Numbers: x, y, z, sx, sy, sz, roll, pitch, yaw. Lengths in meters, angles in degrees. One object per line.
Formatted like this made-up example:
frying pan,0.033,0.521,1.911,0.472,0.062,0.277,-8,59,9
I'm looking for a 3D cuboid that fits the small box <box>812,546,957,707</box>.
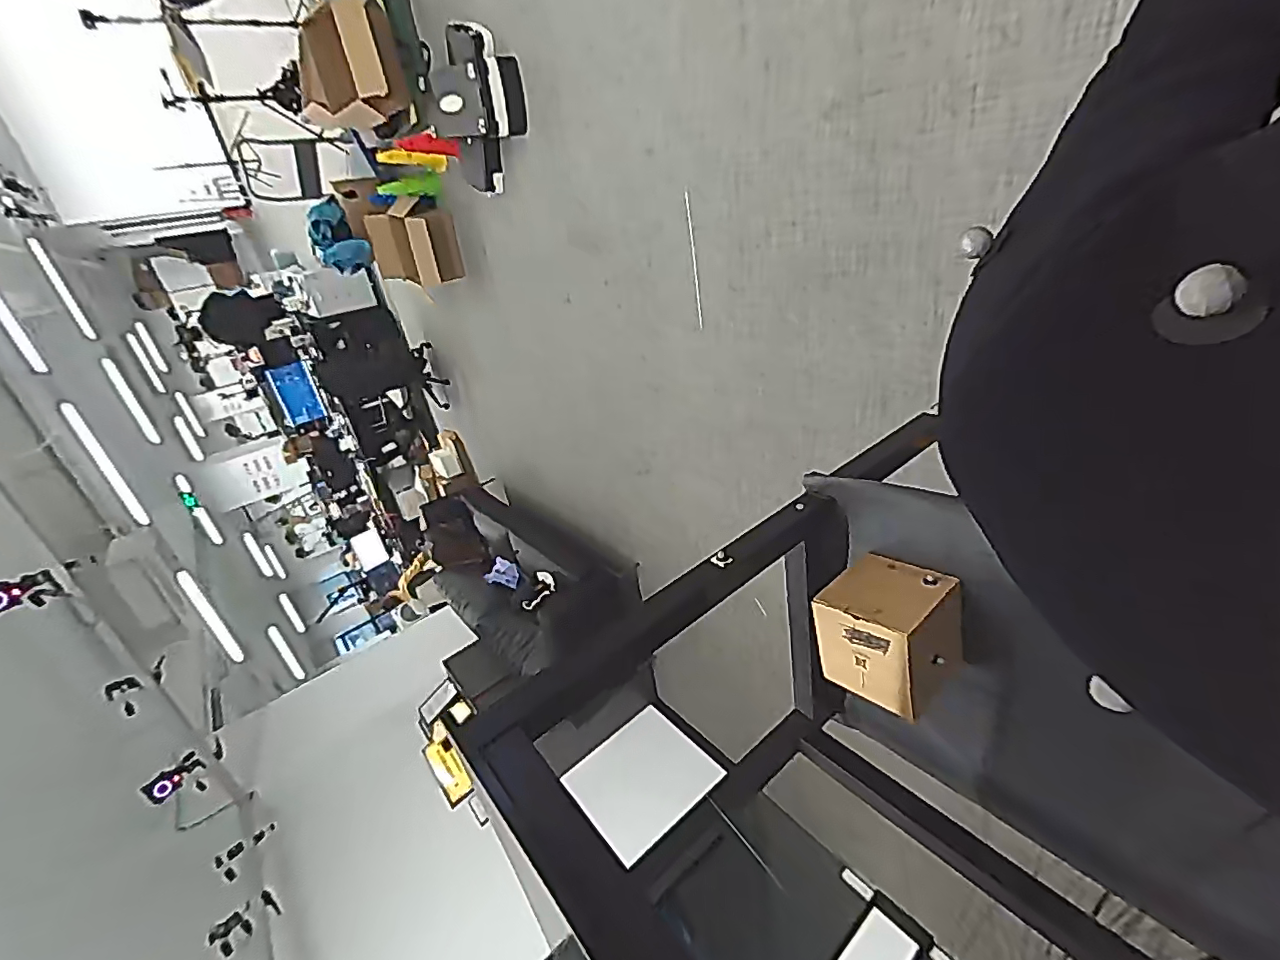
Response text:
small box,0.421,0.238,0.928,0.168,0.176,0.179,16,128,51
